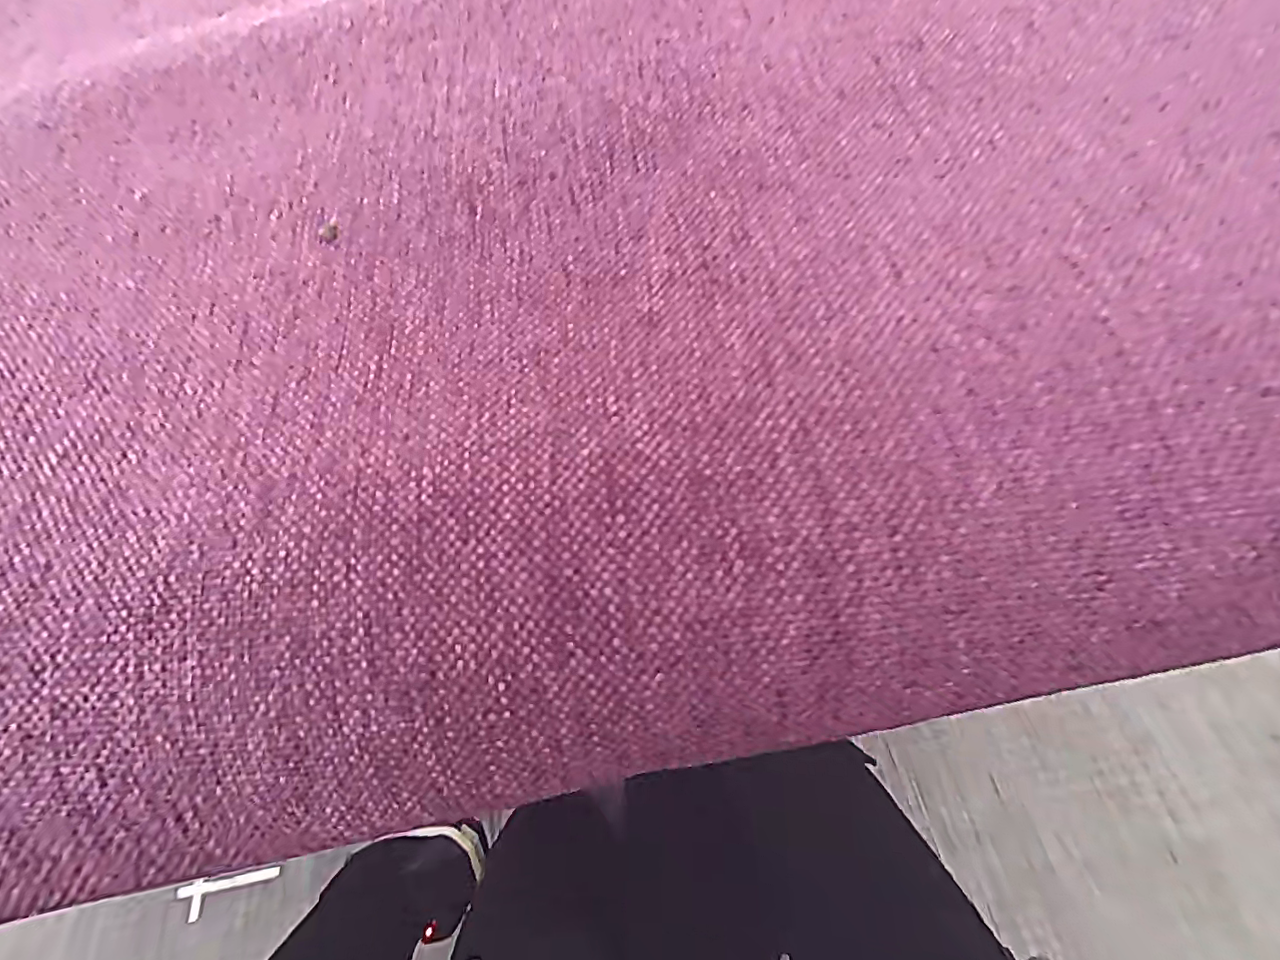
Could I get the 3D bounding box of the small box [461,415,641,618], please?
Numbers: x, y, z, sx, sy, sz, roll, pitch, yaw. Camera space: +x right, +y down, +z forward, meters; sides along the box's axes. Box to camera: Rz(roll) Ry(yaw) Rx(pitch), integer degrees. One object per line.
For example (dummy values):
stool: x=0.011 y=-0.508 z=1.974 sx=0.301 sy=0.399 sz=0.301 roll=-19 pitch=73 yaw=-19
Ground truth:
small box: x=-0.100 y=0.051 z=0.652 sx=0.168 sy=0.176 sz=0.179 roll=-14 pitch=66 yaw=1

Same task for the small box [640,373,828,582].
small box: x=0.102 y=0.005 z=0.649 sx=0.168 sy=0.176 sz=0.179 roll=-14 pitch=65 yaw=1
